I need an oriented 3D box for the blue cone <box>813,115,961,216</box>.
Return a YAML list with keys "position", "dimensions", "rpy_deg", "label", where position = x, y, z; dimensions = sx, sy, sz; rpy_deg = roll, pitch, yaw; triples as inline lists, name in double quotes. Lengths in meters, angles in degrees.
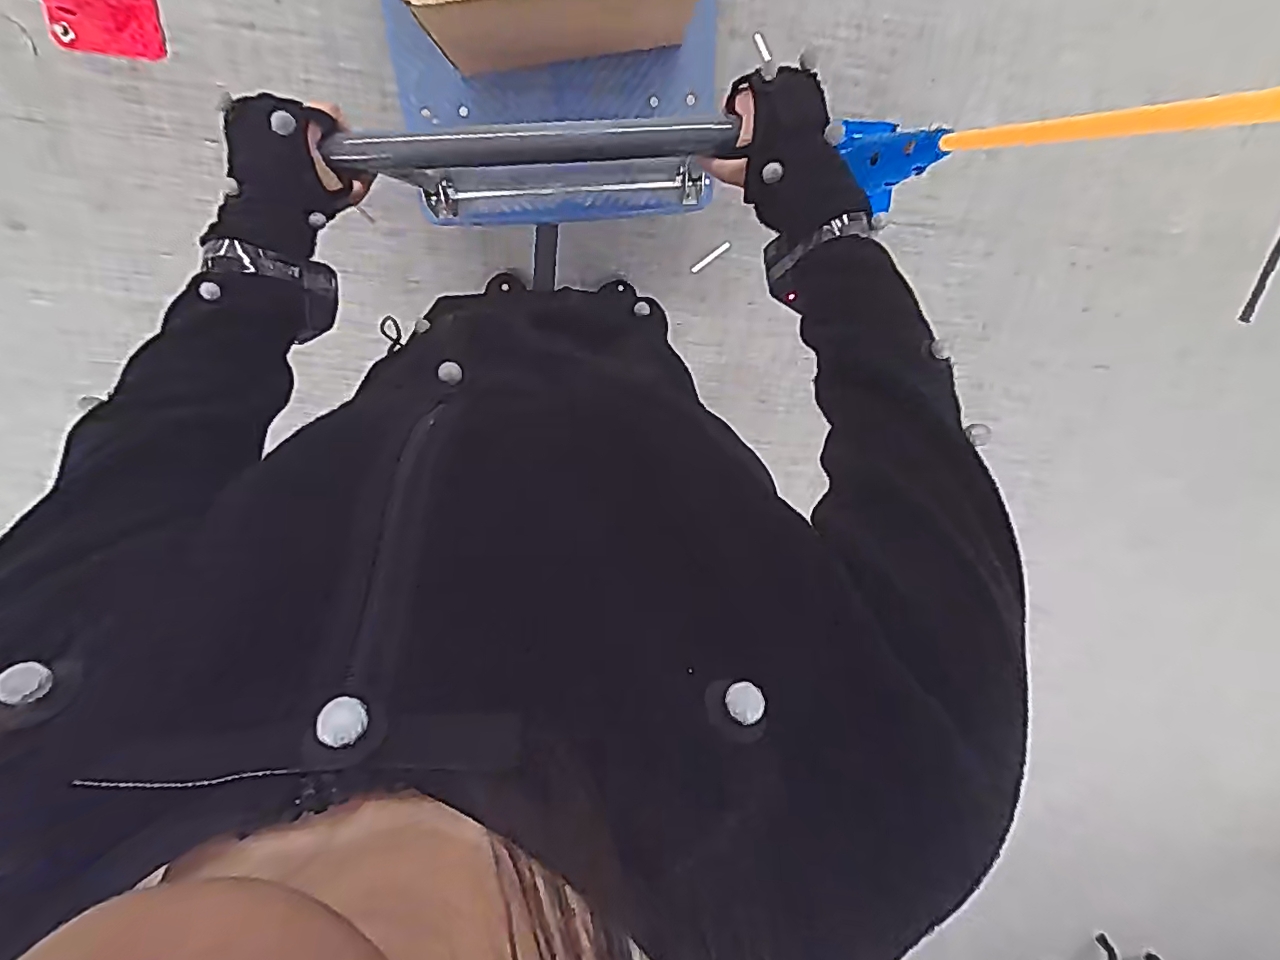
- position: [0.505, -0.647, 1.076]
  dimensions: [0.193, 0.380, 0.192]
  rpy_deg: [1, 111, -5]
  label: "blue cone"
